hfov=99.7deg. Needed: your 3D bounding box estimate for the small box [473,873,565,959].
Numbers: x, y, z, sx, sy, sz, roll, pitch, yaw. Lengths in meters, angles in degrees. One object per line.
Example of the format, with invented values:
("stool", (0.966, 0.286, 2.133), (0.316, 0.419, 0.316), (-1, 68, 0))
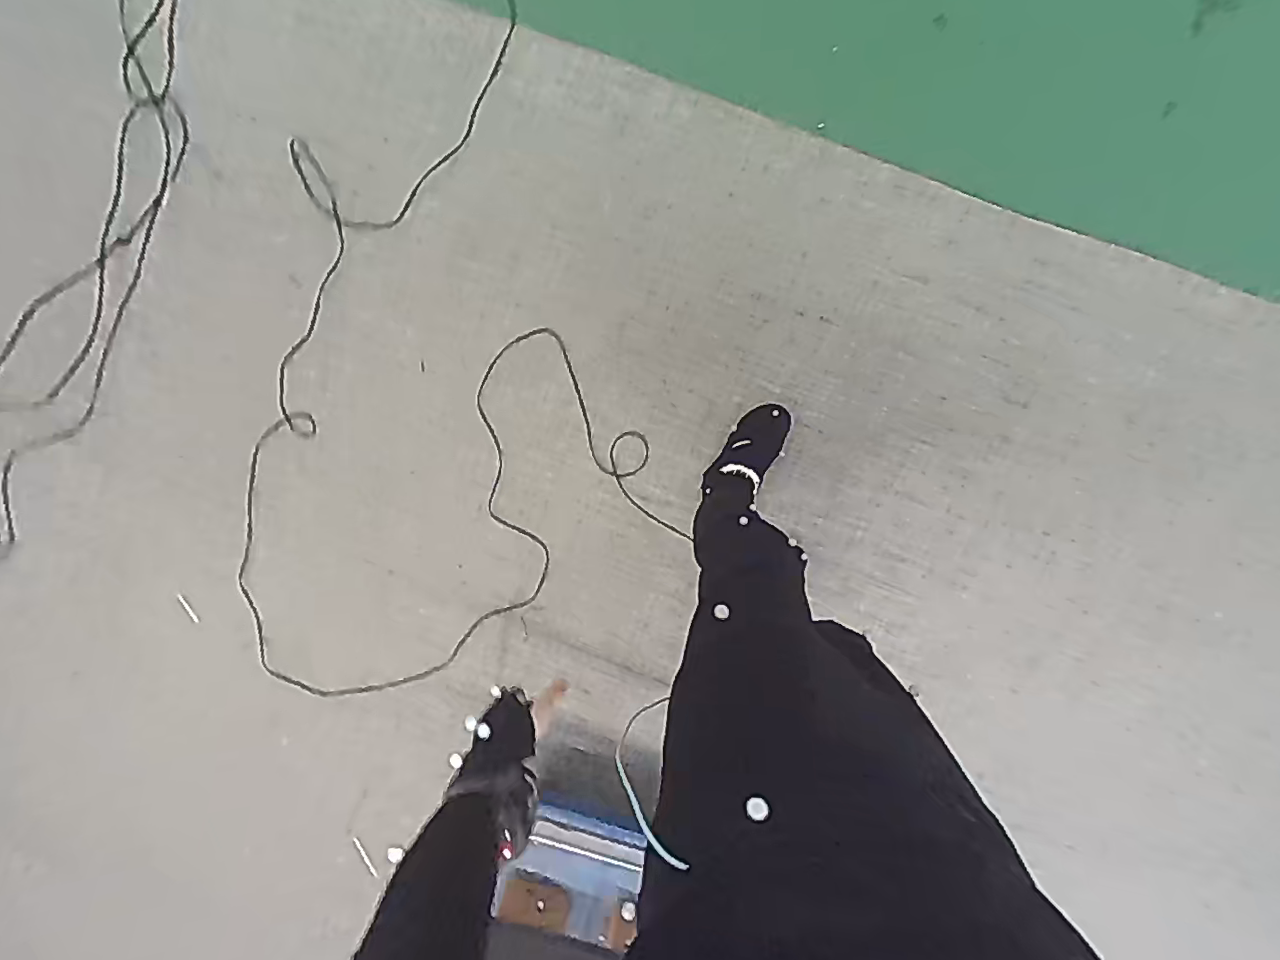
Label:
("small box", (-0.288, 1.086, 1.268), (0.168, 0.176, 0.179), (18, 99, 2))
